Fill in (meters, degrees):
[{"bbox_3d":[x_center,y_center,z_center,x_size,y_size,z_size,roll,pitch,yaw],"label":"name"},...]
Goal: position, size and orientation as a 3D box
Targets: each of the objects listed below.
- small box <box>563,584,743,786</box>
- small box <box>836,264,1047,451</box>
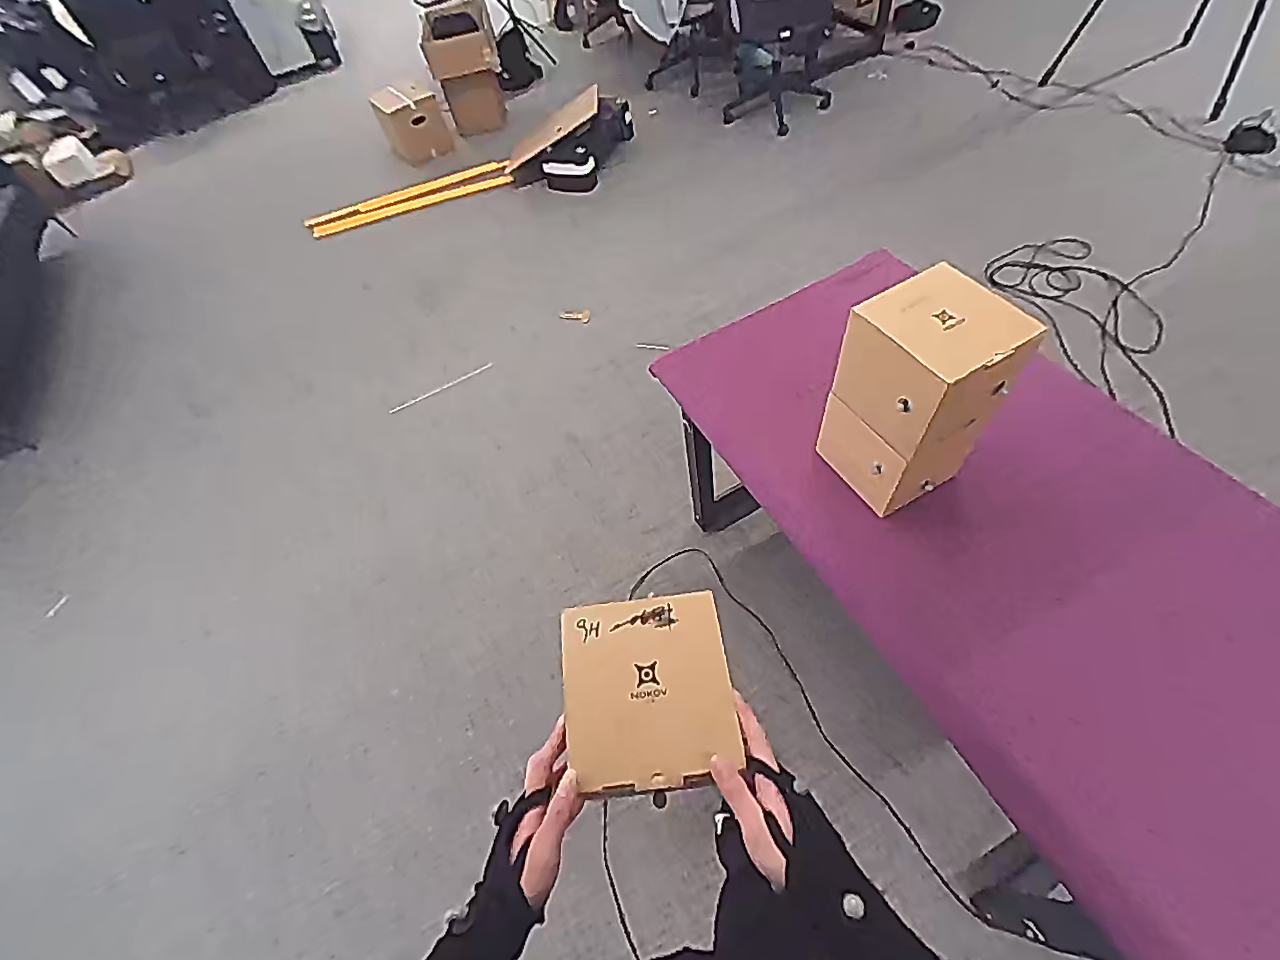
[{"bbox_3d":[0.010,0.235,0.603,0.168,0.176,0.179,-6,58,-2],"label":"small box"},{"bbox_3d":[0.407,-0.164,0.768,0.168,0.176,0.179,-27,57,-9],"label":"small box"}]
